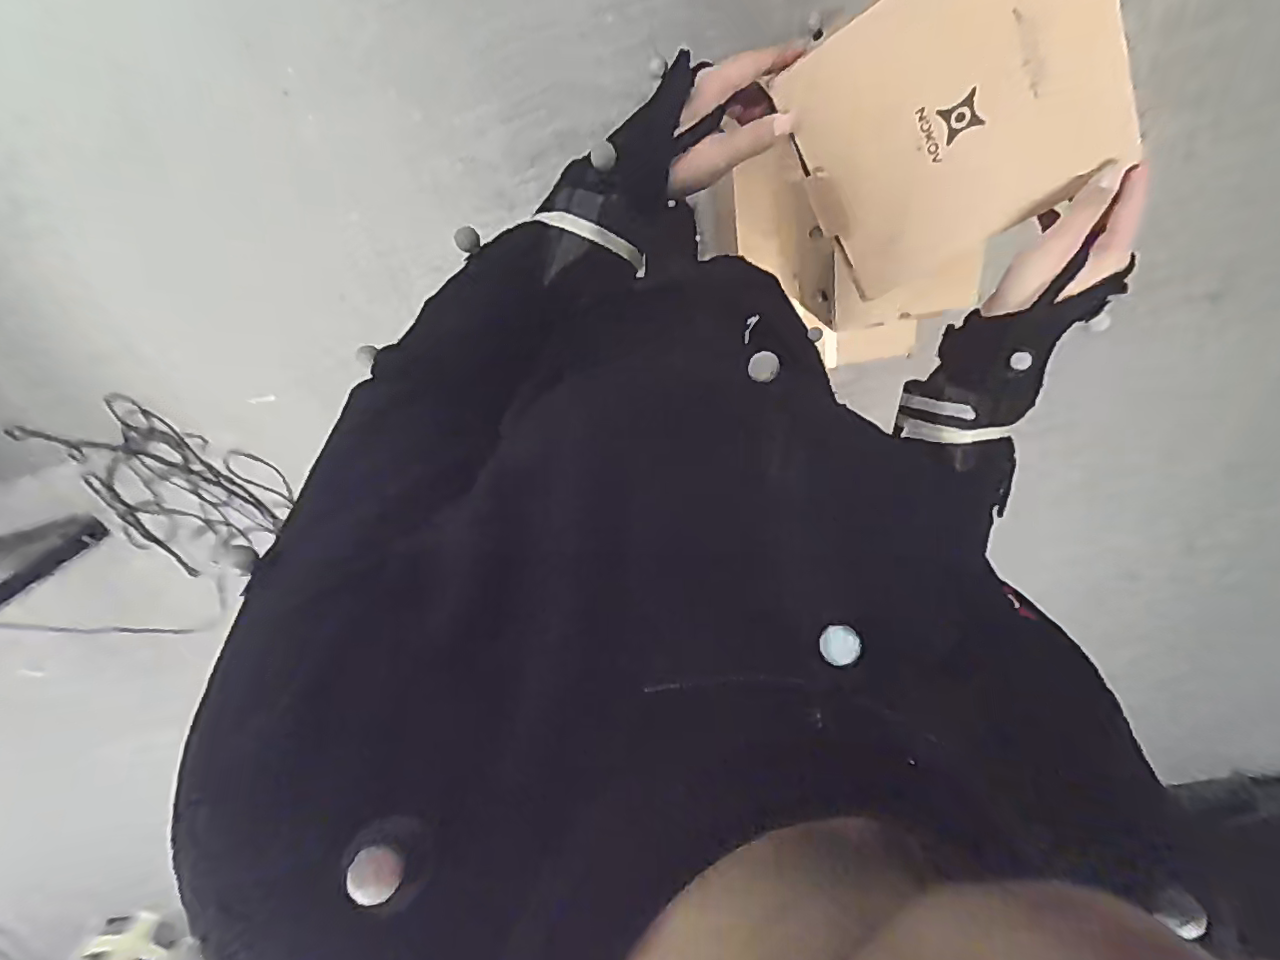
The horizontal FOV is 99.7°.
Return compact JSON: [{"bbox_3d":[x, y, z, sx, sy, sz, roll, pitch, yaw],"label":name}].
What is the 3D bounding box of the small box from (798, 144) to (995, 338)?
[{"bbox_3d":[0.299,-0.294,0.669,0.168,0.176,0.179,-10,119,6],"label":"small box"}]
